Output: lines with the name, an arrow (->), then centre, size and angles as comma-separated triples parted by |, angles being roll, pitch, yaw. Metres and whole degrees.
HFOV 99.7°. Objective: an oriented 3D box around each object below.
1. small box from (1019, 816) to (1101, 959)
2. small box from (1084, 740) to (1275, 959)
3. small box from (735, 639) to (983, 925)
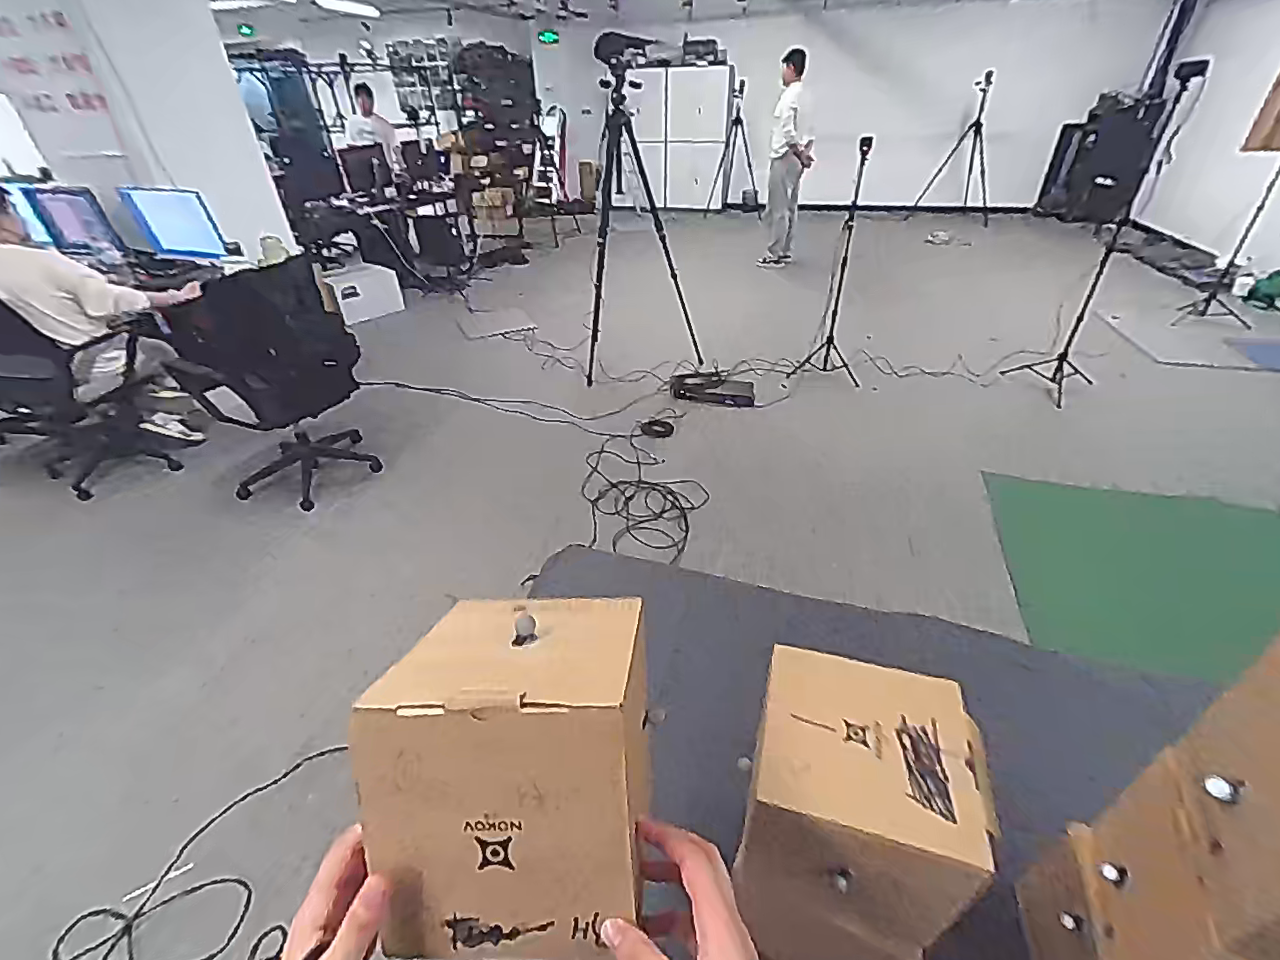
small box -> 0.503, 0.478, 0.525 | 0.168, 0.176, 0.179 | 8, 36, 16
small box -> 0.493, 0.352, 0.422 | 0.179, 0.176, 0.168 | 15, 38, 25
small box -> 0.196, 0.289, 0.524 | 0.179, 0.176, 0.168 | 9, 36, 16
